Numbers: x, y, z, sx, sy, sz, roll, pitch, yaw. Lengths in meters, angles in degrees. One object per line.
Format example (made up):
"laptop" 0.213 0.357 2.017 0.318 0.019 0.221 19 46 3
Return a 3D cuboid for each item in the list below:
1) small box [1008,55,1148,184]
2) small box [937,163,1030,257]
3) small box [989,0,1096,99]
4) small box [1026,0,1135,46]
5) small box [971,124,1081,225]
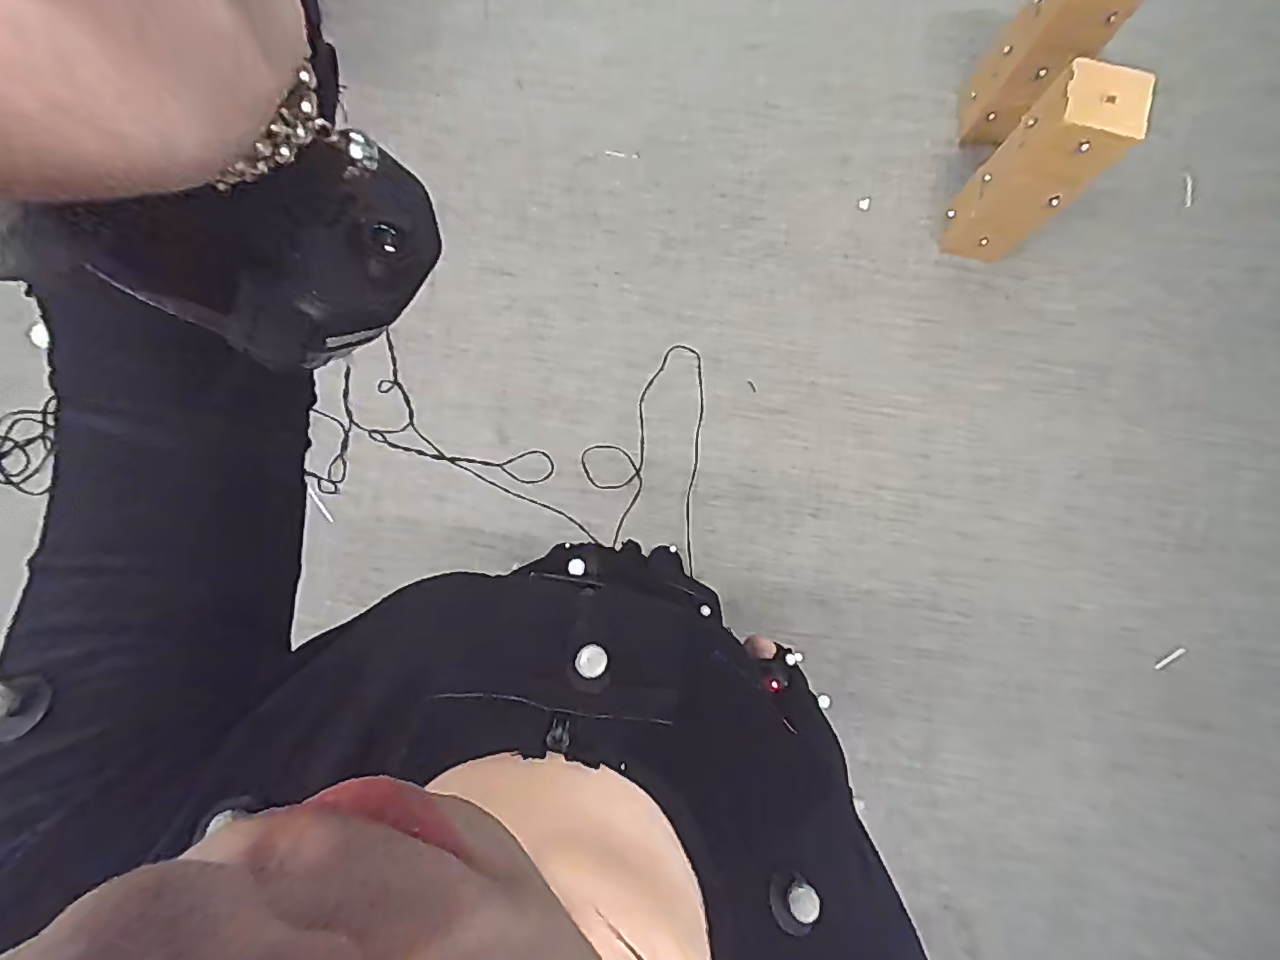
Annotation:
"small box" 1.005 -0.823 1.252 0.179 0.176 0.168 15 83 2
"small box" 1.007 -0.778 1.576 0.179 0.176 0.168 14 83 3
"small box" 1.079 -1.173 1.462 0.179 0.176 0.168 6 82 1
"small box" 1.075 -1.193 1.301 0.179 0.176 0.168 6 81 1
"small box" 1.009 -0.797 1.412 0.179 0.176 0.168 12 82 2
